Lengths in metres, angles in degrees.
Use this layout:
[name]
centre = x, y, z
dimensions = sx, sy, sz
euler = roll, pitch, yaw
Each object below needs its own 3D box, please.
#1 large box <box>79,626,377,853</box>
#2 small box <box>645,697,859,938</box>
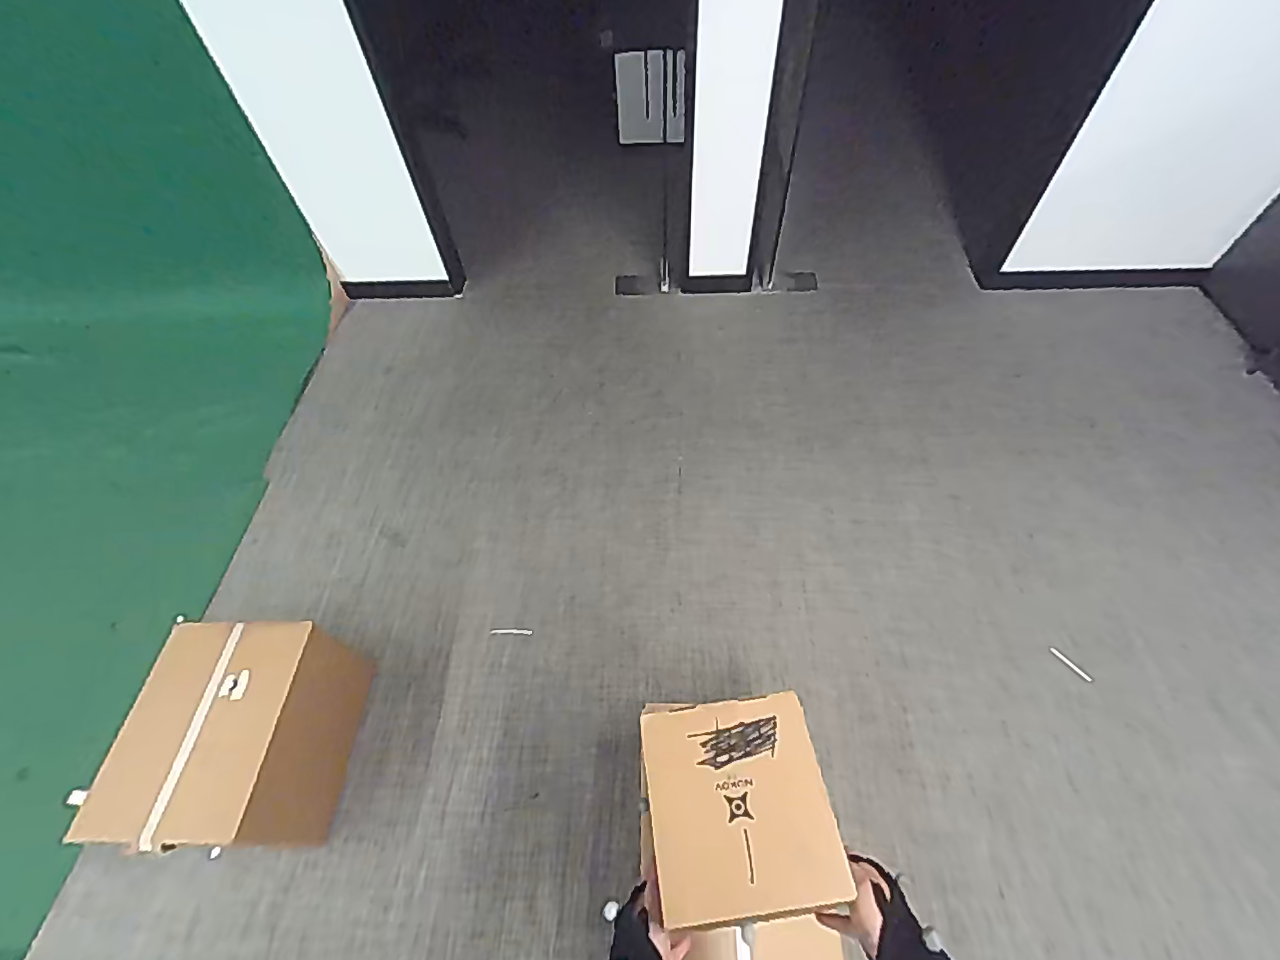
[large box]
centre = -0.842, 0.571, 1.186
dimensions = 0.320, 0.320, 0.408
euler = -1, 54, 3
[small box]
centre = 0.099, 0.352, 0.563
dimensions = 0.168, 0.176, 0.179
euler = -9, 49, 0
